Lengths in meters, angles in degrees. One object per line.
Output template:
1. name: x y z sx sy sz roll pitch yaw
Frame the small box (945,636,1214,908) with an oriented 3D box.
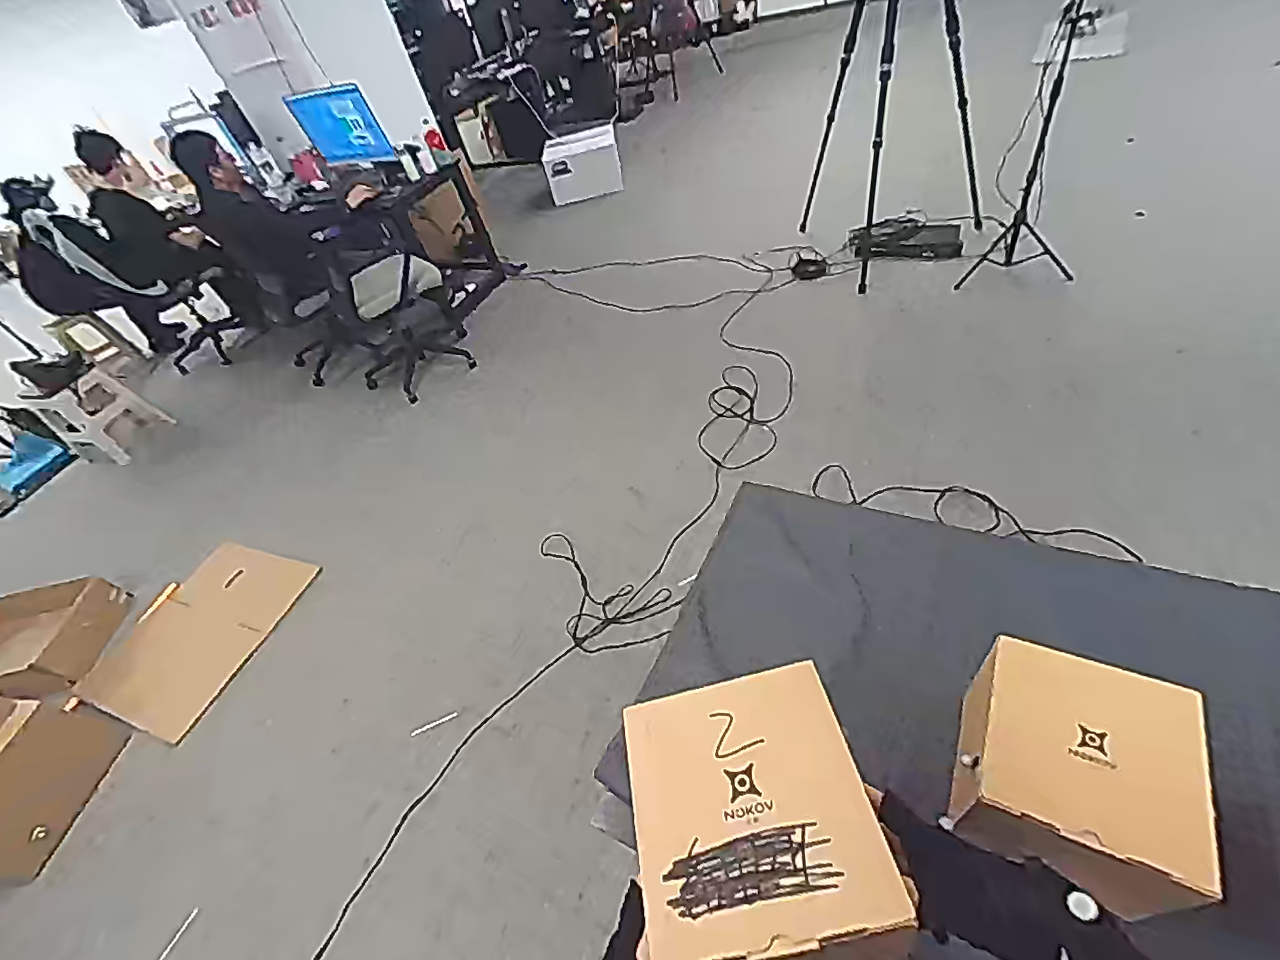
1. small box: 0.433 0.301 0.562 0.168 0.176 0.179 14 54 26
